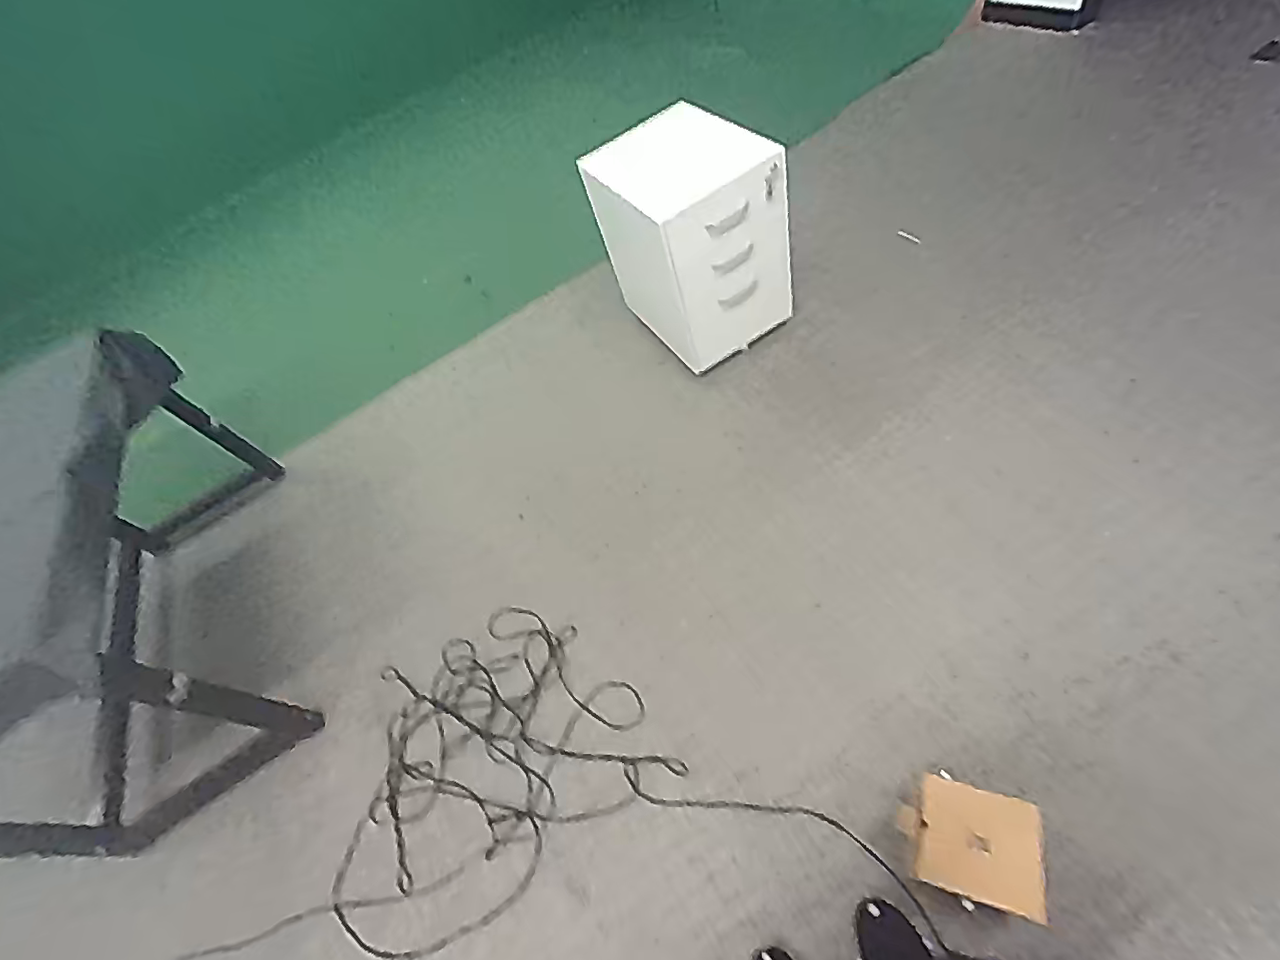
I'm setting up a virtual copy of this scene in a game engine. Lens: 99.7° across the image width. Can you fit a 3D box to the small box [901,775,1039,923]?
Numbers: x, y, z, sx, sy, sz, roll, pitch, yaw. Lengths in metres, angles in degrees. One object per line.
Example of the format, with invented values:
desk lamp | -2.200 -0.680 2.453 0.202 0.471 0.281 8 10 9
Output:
small box | 0.579 0.647 0.965 0.179 0.176 0.168 7 60 22
